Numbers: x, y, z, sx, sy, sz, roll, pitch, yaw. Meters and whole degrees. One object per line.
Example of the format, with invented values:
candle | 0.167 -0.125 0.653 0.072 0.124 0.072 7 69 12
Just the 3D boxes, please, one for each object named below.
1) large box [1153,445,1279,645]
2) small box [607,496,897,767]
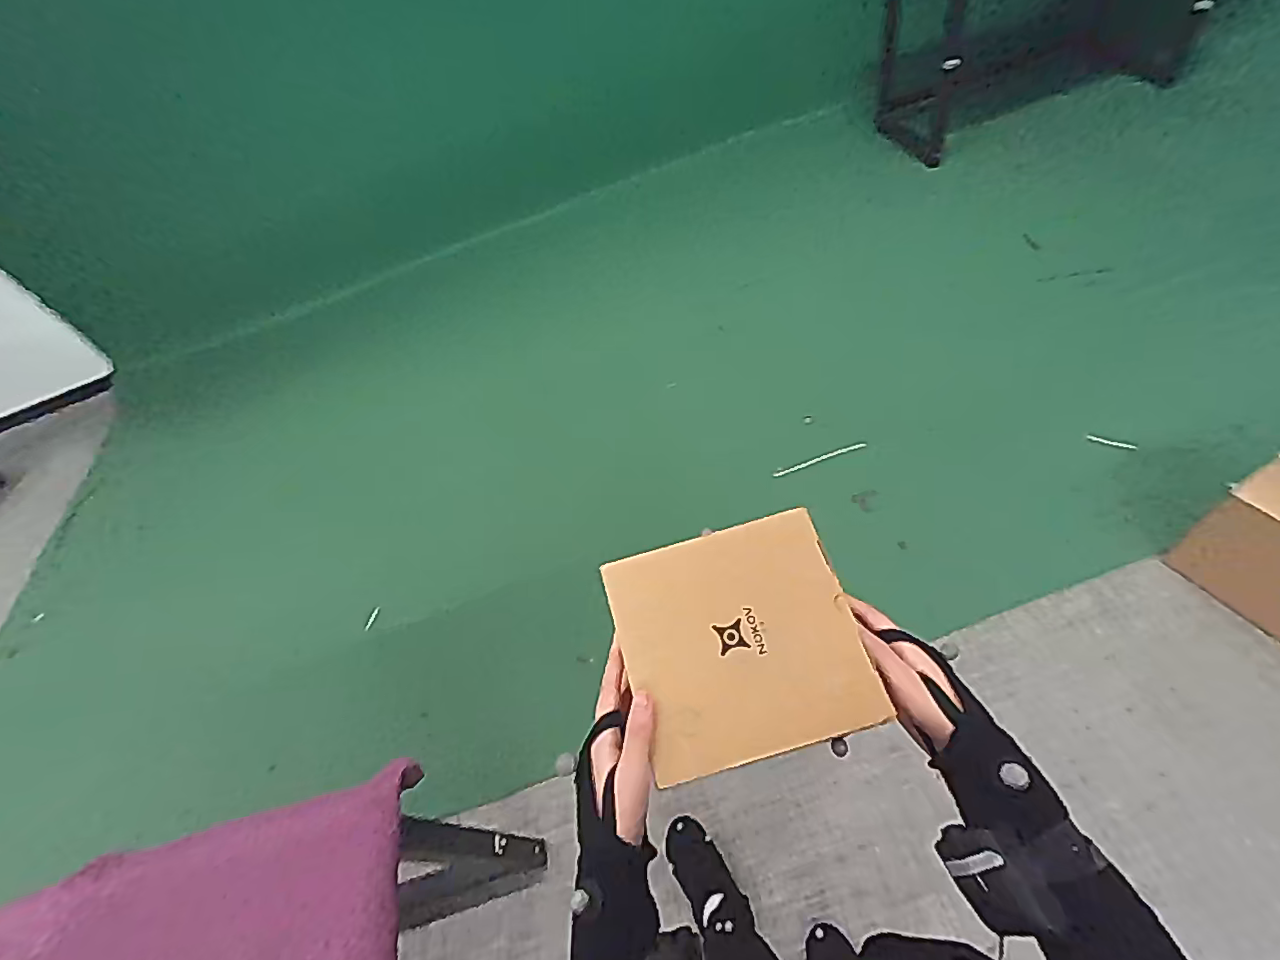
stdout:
large box | 1.496 0.164 1.171 0.320 0.320 0.408 -31 50 -9
small box | 0.083 0.139 0.474 0.179 0.176 0.168 -15 65 -2
